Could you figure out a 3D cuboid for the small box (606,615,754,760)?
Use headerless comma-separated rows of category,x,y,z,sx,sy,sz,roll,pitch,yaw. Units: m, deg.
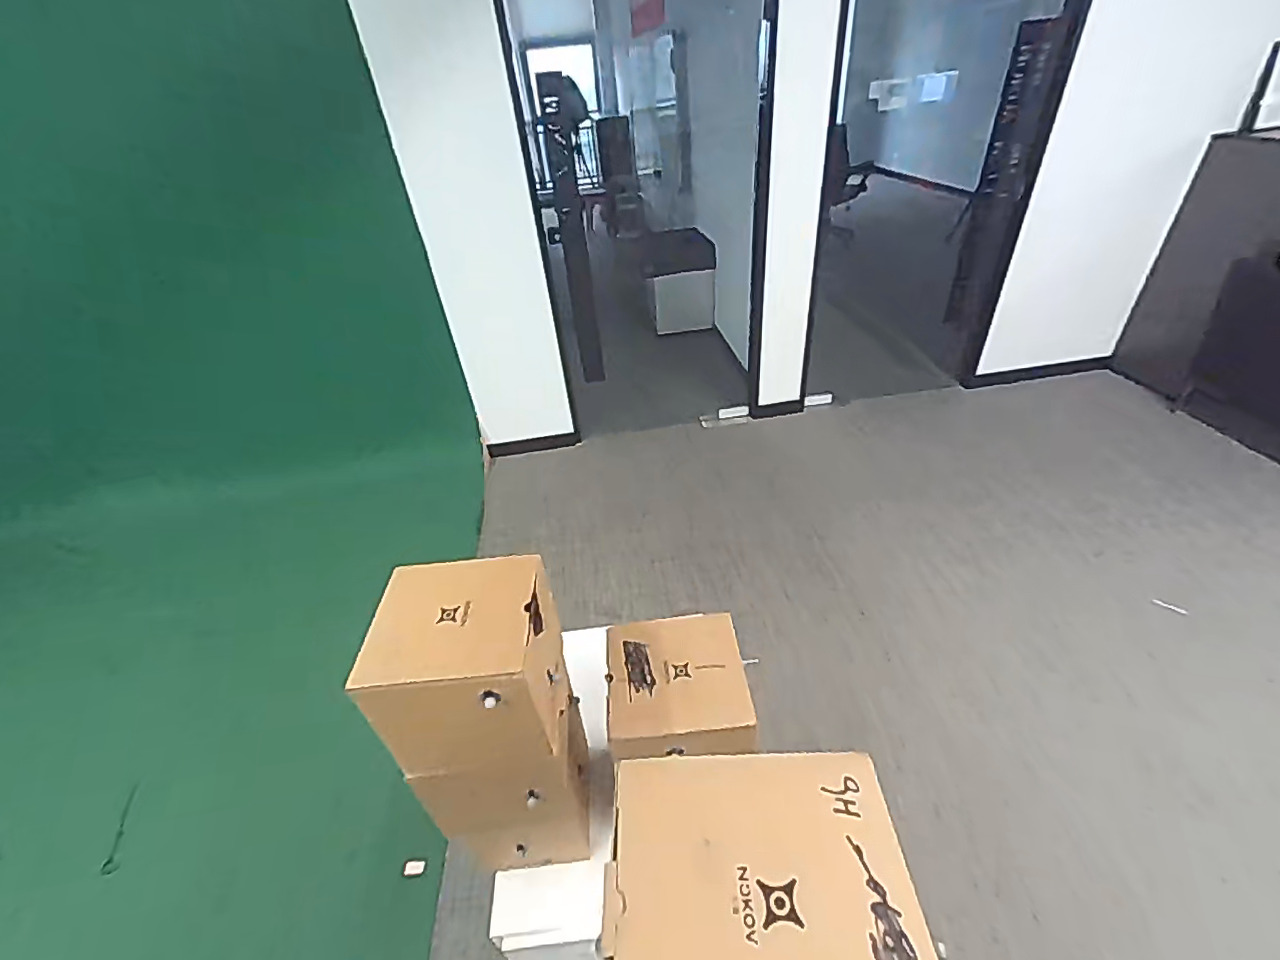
small box,0.052,0.308,0.732,0.179,0.176,0.168,-6,37,1

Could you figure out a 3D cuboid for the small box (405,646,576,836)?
small box,-0.180,0.343,0.720,0.179,0.176,0.168,-7,36,-2

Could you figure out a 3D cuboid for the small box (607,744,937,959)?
small box,0.074,0.298,0.360,0.179,0.176,0.168,-2,38,2

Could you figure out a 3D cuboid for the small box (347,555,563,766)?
small box,-0.193,0.209,0.627,0.179,0.176,0.168,-5,36,-1

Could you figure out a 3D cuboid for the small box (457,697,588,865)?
small box,-0.170,0.463,0.829,0.168,0.176,0.179,-5,36,-2
